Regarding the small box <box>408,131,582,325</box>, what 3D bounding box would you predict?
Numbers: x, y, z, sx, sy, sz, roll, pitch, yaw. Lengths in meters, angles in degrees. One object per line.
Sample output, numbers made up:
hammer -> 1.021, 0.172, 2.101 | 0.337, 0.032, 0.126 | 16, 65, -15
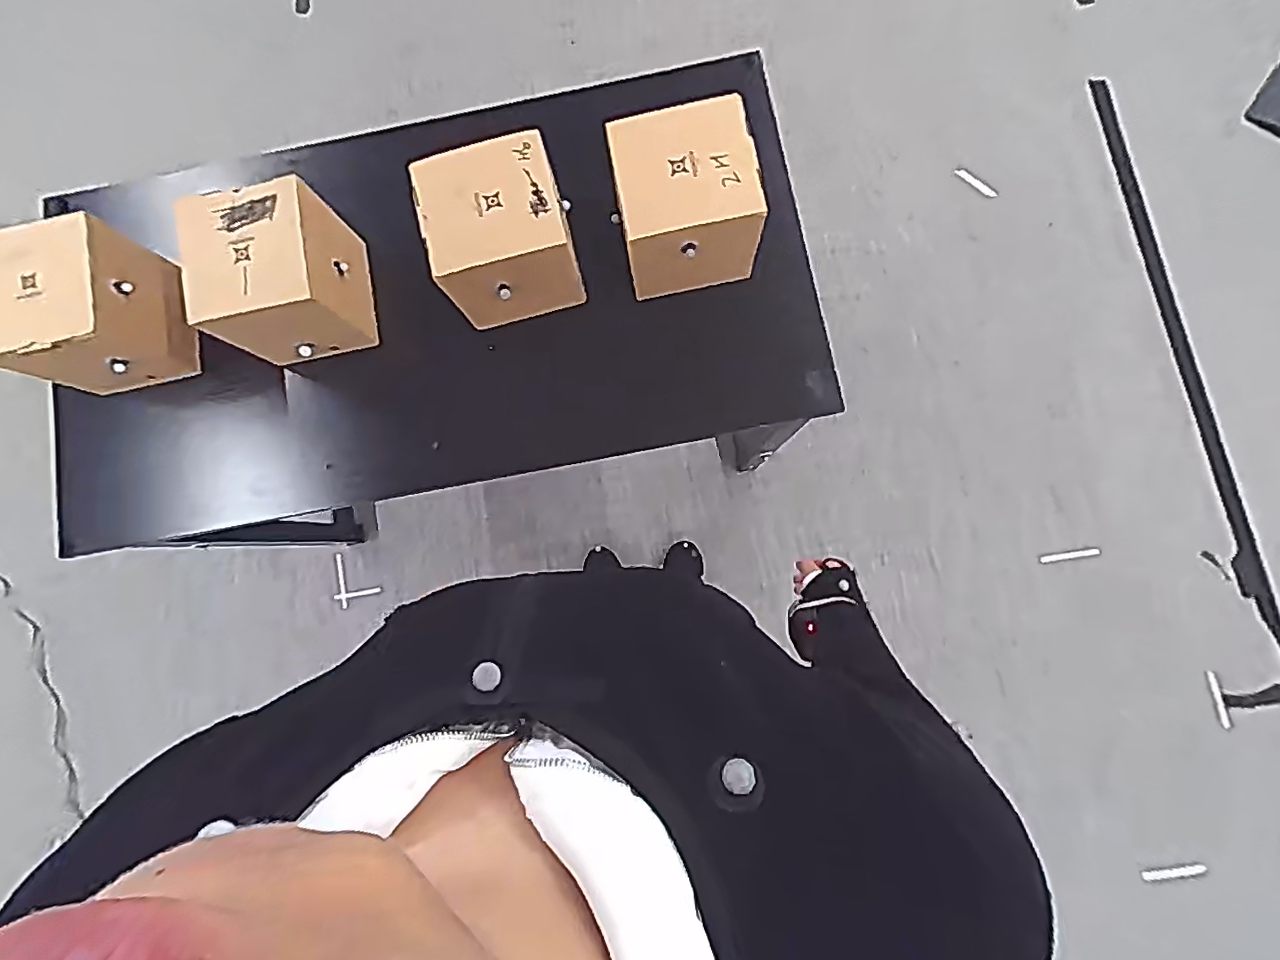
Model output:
small box -> -0.194, -0.341, 0.767 | 0.179, 0.176, 0.168 | -15, 83, 1

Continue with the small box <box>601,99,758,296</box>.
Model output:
small box -> 0.054, -0.380, 0.759 | 0.179, 0.176, 0.168 | -11, 83, 1

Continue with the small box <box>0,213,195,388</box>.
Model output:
small box -> -0.791, -0.244, 0.782 | 0.168, 0.176, 0.179 | -12, 82, 0

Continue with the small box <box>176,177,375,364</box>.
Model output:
small box -> -0.508, -0.288, 0.774 | 0.168, 0.176, 0.179 | -11, 83, 1
